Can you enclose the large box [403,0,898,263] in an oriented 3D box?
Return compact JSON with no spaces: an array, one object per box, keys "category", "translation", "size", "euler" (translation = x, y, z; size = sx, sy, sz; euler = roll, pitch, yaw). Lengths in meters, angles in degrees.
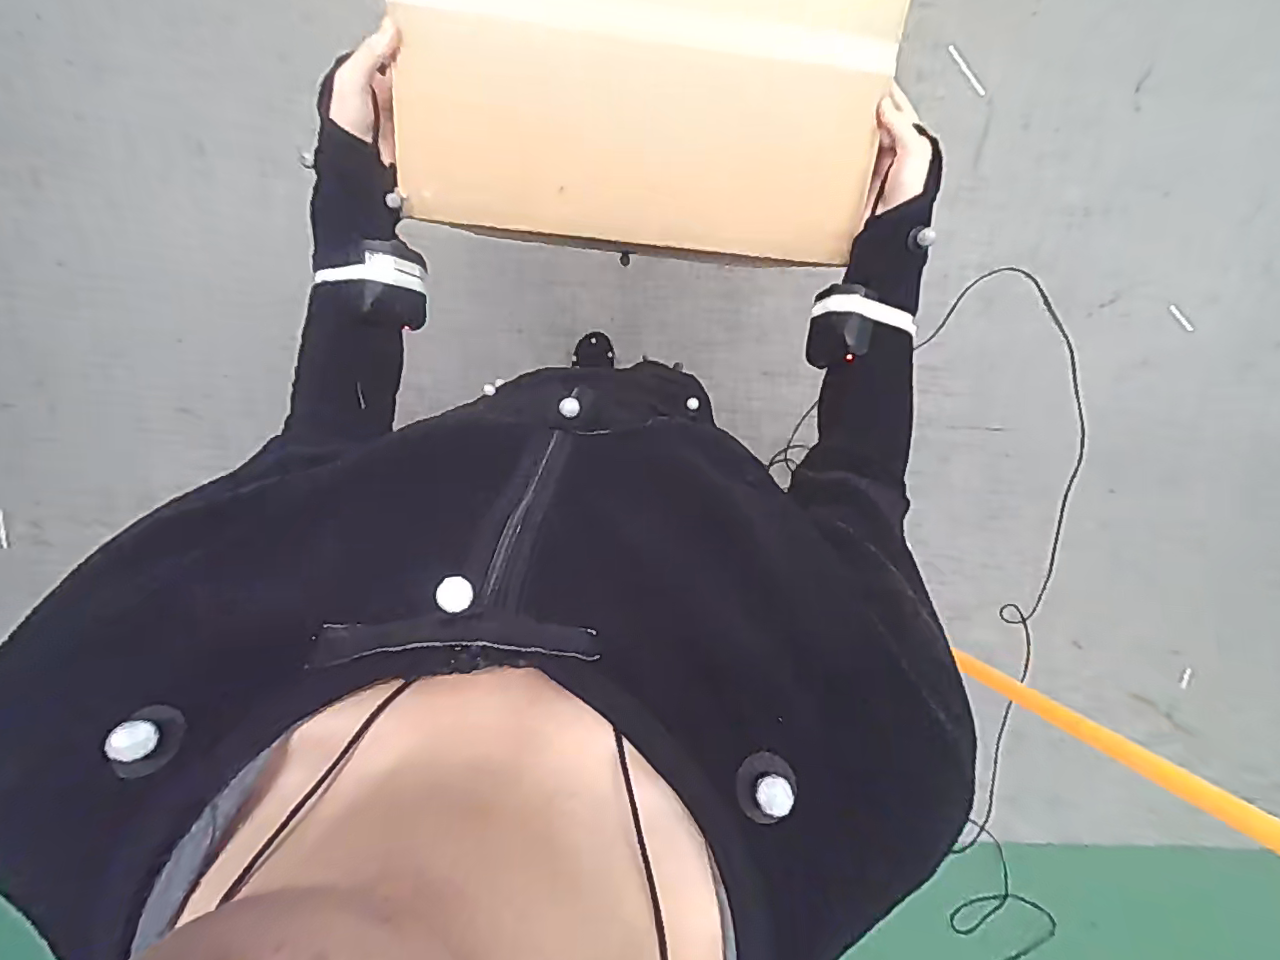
[{"category":"large box","translation":[0.002,-0.413,0.581],"size":[0.408,0.320,0.320],"euler":[4,109,-5]}]
